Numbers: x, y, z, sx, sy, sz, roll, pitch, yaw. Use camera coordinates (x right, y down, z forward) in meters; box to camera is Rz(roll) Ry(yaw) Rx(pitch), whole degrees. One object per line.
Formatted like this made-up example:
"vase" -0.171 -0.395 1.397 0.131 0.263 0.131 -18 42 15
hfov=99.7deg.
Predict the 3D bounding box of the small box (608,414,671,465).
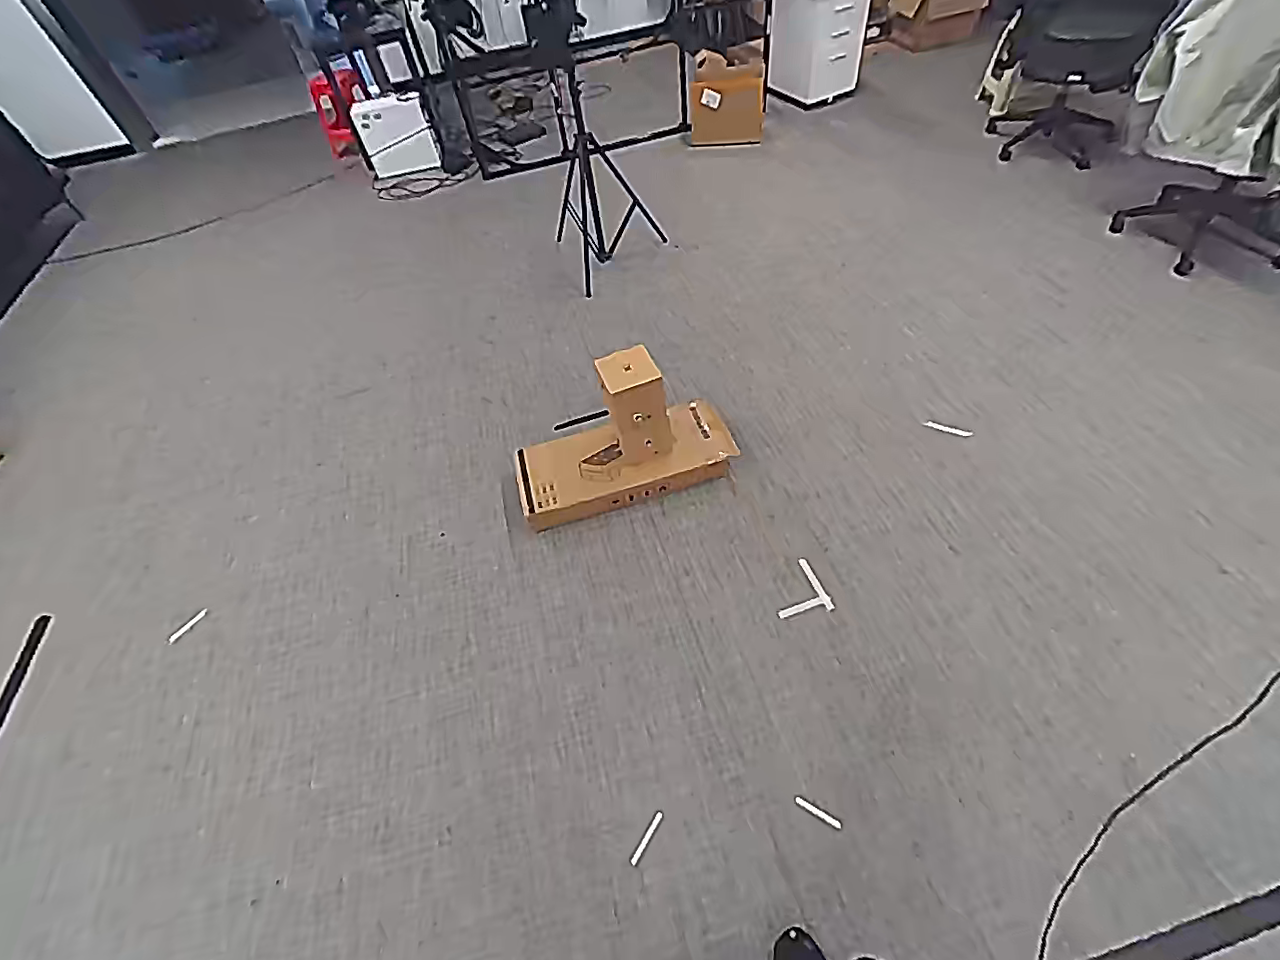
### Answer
"small box" -0.002 -0.171 1.807 0.168 0.176 0.179 -18 52 -7

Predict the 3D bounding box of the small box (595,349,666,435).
"small box" -0.028 -0.270 1.680 0.168 0.176 0.179 -21 52 -7
